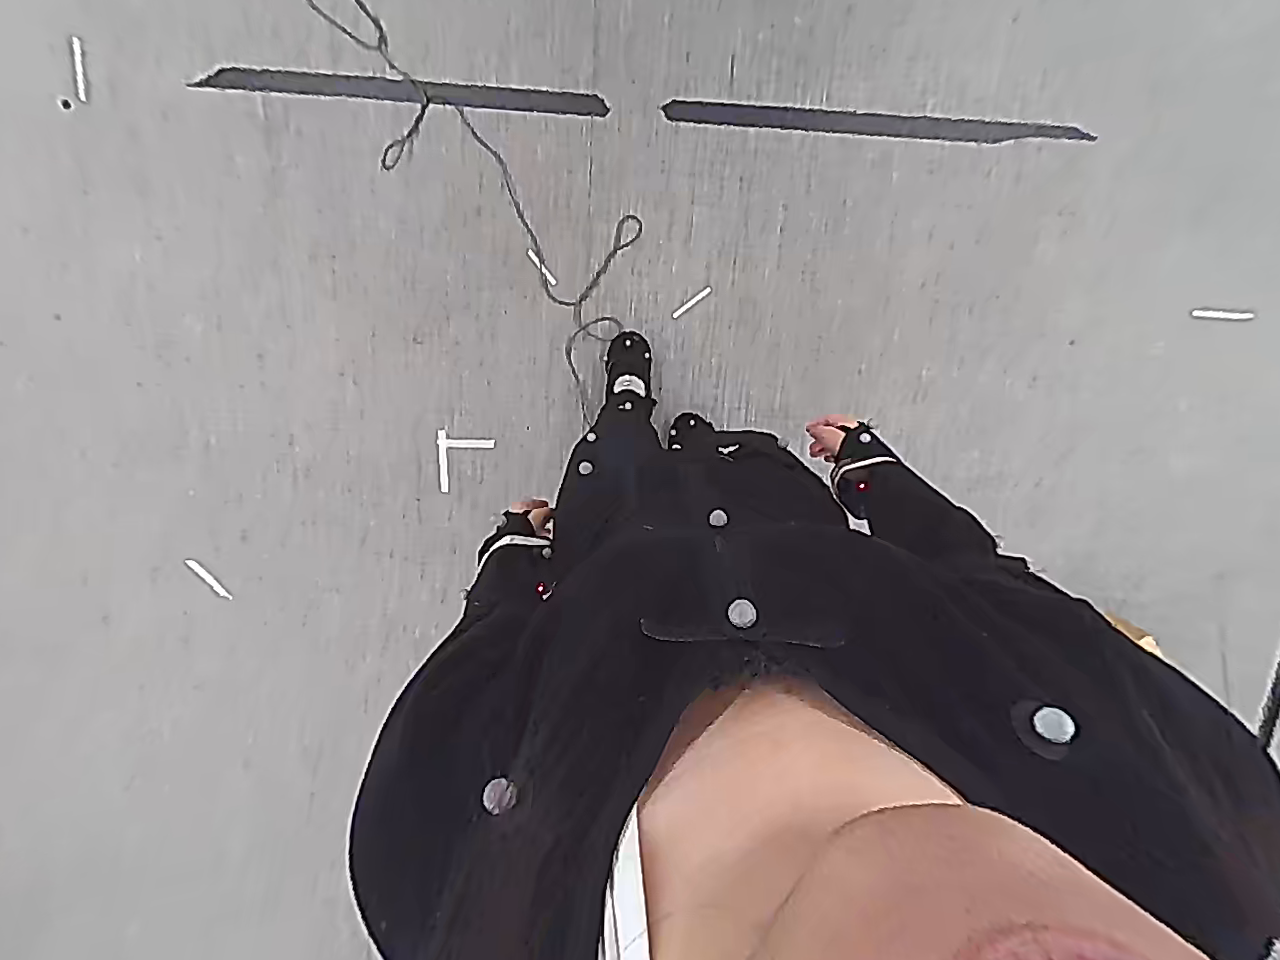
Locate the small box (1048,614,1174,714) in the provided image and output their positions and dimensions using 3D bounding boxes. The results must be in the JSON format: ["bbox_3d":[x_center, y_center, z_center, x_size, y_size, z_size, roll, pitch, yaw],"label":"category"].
[{"bbox_3d":[1.277,0.491,1.481,0.168,0.176,0.179,-34,99,8],"label":"small box"}]
